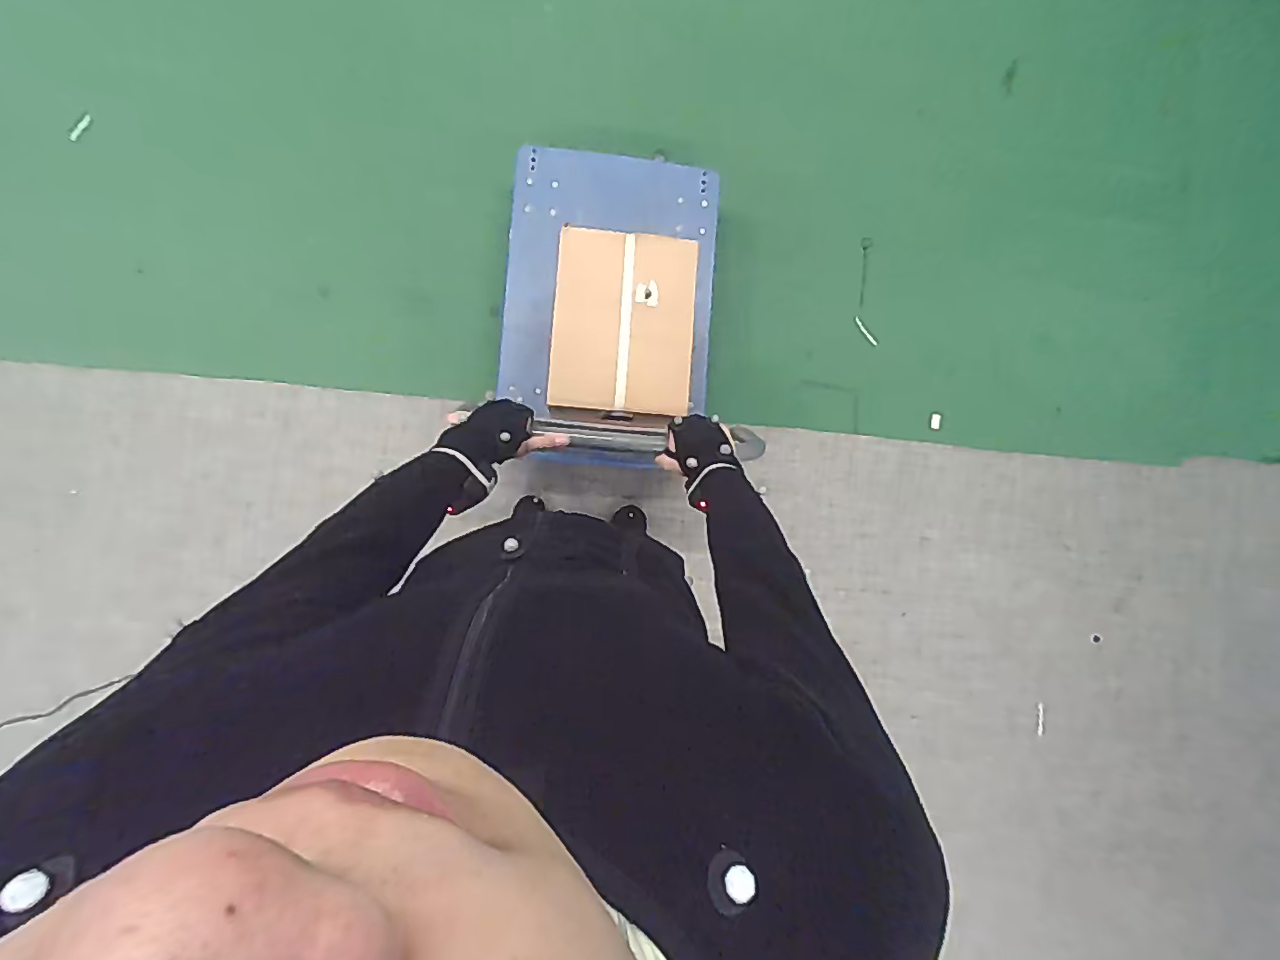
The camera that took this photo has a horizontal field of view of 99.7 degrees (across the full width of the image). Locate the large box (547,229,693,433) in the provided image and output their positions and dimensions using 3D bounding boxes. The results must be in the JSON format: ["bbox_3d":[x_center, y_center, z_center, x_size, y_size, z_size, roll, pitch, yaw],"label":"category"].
[{"bbox_3d":[-0.055,-0.342,1.346,0.320,0.320,0.408,4,86,-7],"label":"large box"}]
